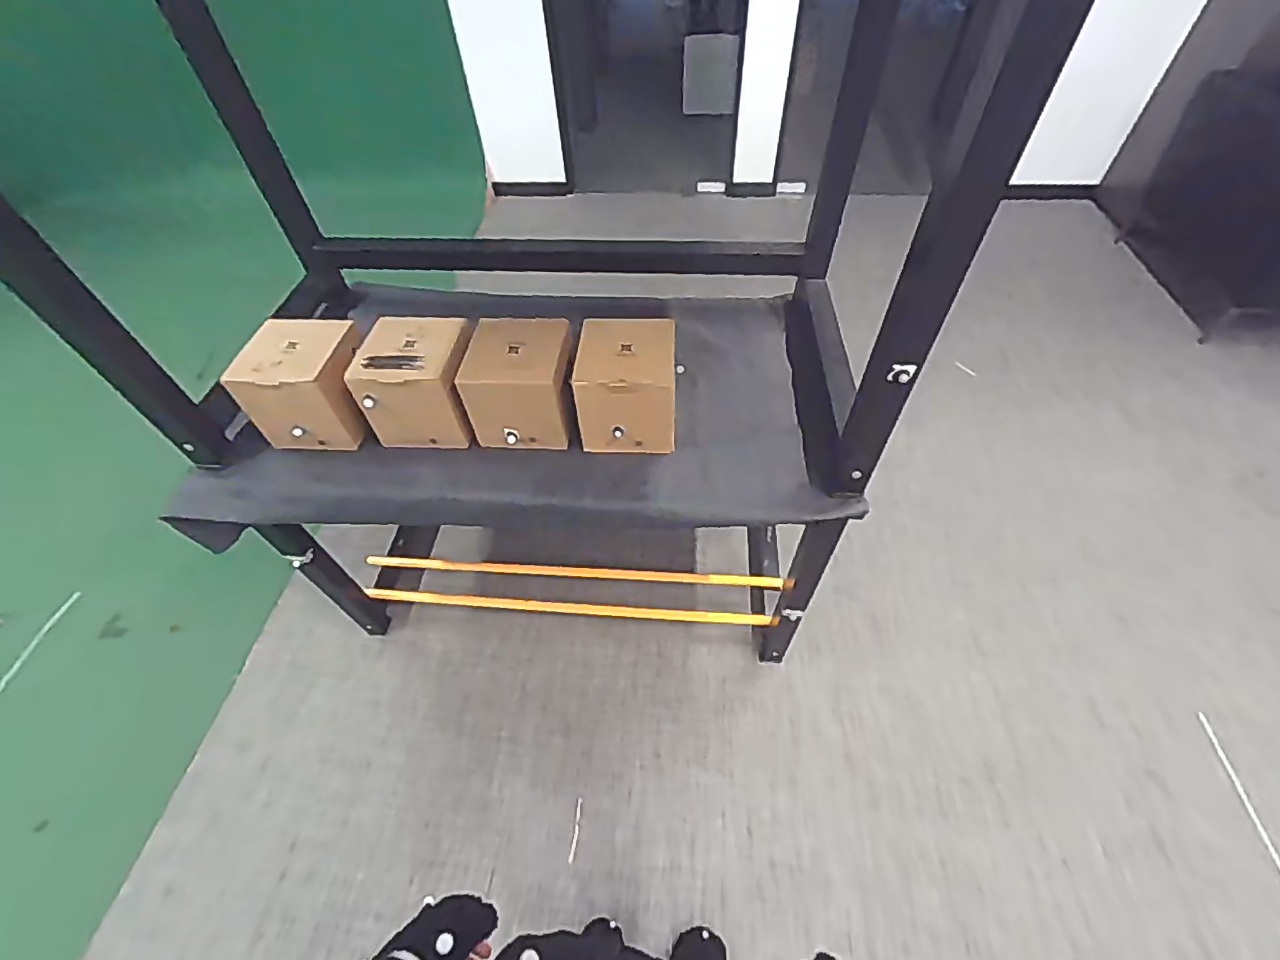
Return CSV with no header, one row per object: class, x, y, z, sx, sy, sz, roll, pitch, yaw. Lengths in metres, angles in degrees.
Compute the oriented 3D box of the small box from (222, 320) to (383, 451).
small box,-0.606,-0.175,1.004,0.168,0.176,0.179,2,51,3
